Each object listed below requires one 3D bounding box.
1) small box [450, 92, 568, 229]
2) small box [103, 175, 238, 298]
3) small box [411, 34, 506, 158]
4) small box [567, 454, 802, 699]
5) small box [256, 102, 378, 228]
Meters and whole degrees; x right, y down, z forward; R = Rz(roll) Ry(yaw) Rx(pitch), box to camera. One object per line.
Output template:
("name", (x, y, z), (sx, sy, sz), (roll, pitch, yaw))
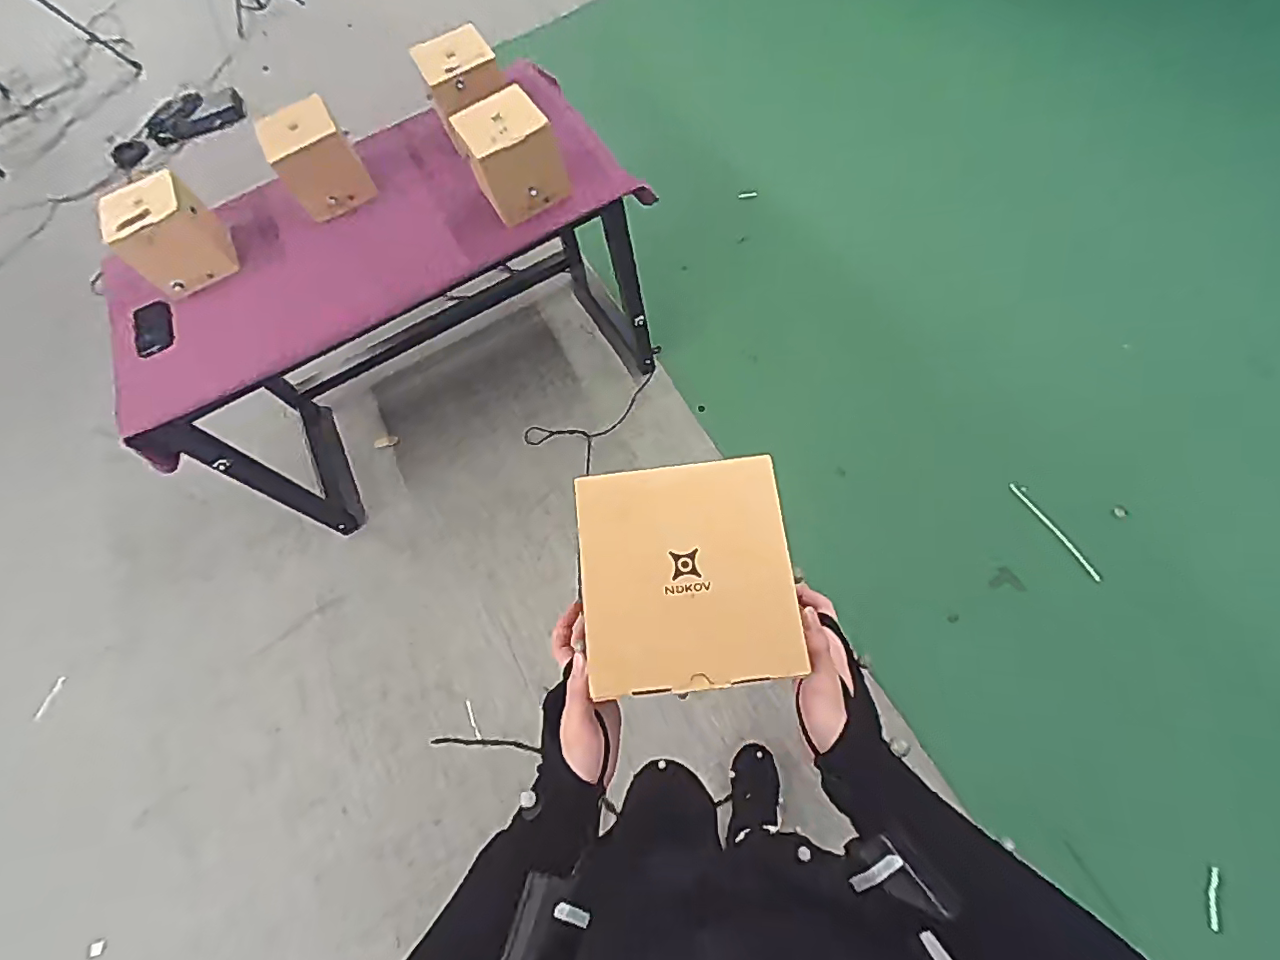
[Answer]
("small box", (-0.280, -0.691, 1.182), (0.168, 0.176, 0.179), (-30, 65, -4))
("small box", (-1.067, -0.547, 1.239), (0.168, 0.176, 0.179), (-29, 64, -6))
("small box", (-0.422, -0.930, 1.320), (0.168, 0.176, 0.179), (-28, 64, -4))
("small box", (0.031, 0.093, 0.490), (0.168, 0.176, 0.179), (-7, 73, 1))
("small box", (-0.762, -0.743, 1.286), (0.168, 0.176, 0.179), (-30, 65, -5))
